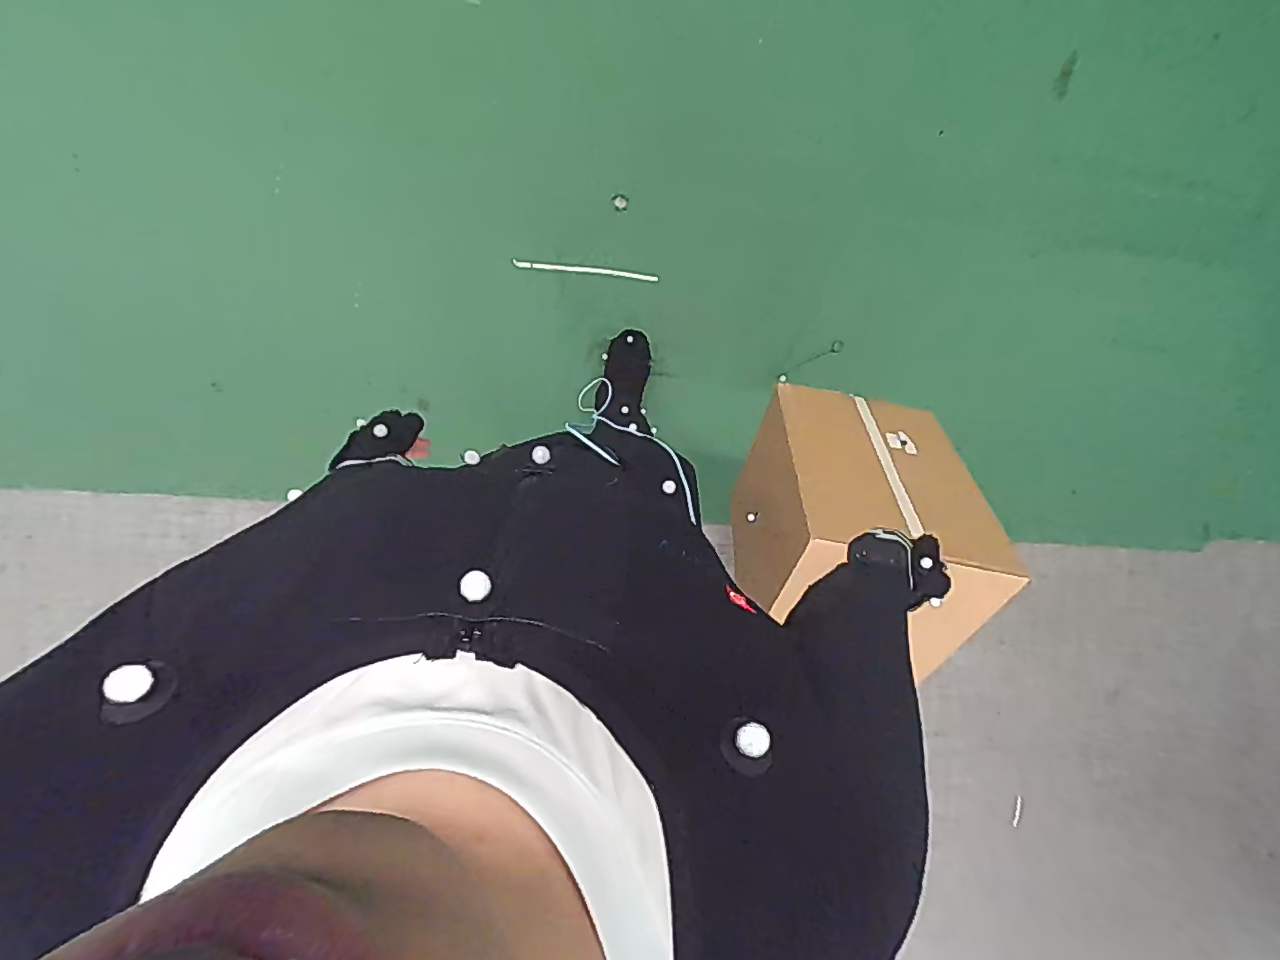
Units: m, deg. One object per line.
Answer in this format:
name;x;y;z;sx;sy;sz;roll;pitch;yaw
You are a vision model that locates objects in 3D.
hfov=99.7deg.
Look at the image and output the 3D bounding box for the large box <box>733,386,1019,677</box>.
large box;0.367;0.086;0.984;0.320;0.408;0.320;12;130;-4
